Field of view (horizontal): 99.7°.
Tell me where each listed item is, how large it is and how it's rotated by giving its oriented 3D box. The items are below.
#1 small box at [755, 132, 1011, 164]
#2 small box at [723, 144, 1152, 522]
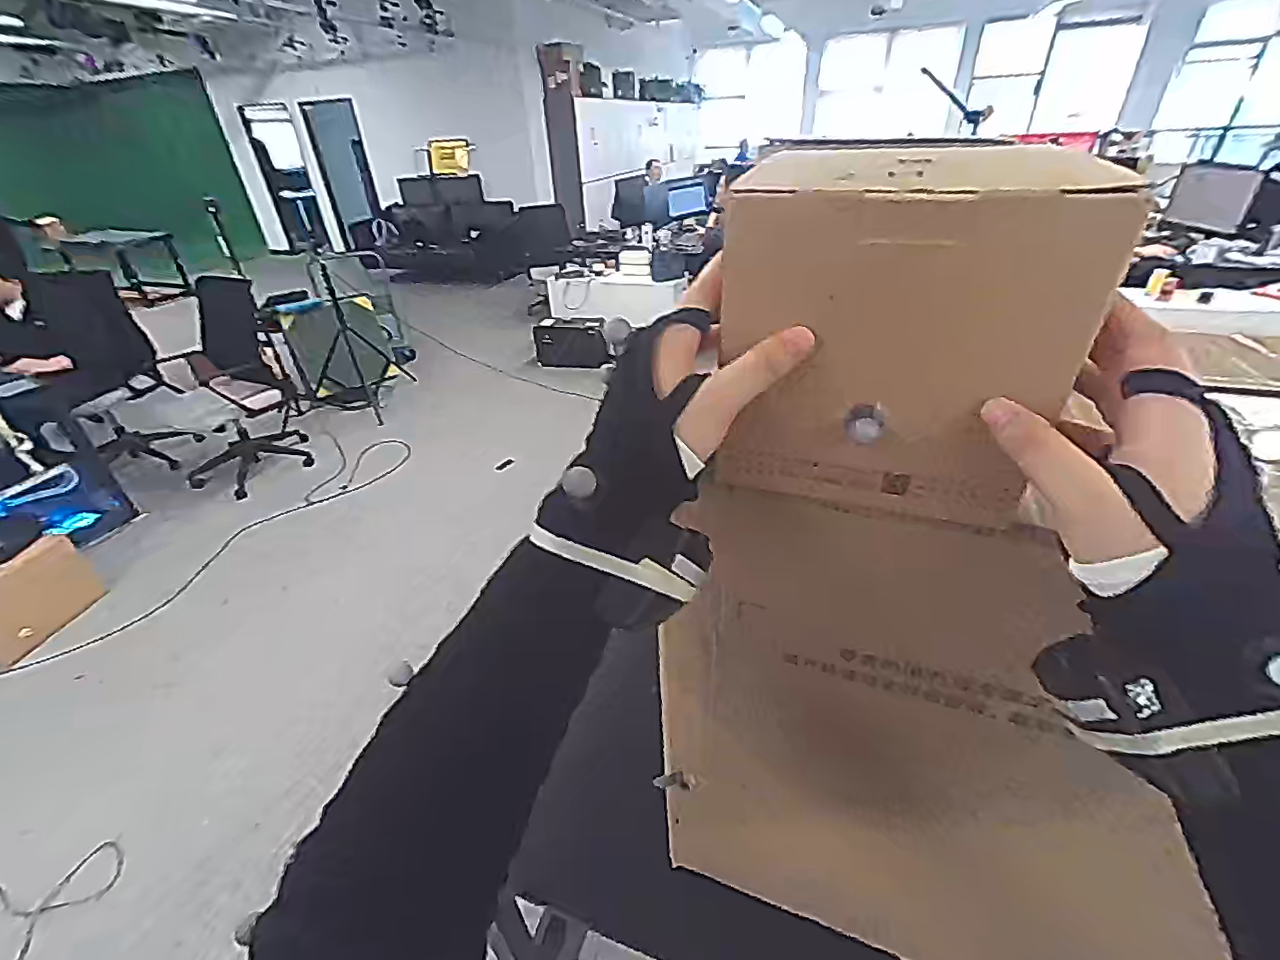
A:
[{"bbox_3d":[0.201,-0.212,0.493,0.179,0.176,0.168,11,34,19],"label":"small box"},{"bbox_3d":[0.149,-0.101,0.335,0.168,0.176,0.179,10,38,19],"label":"small box"}]
